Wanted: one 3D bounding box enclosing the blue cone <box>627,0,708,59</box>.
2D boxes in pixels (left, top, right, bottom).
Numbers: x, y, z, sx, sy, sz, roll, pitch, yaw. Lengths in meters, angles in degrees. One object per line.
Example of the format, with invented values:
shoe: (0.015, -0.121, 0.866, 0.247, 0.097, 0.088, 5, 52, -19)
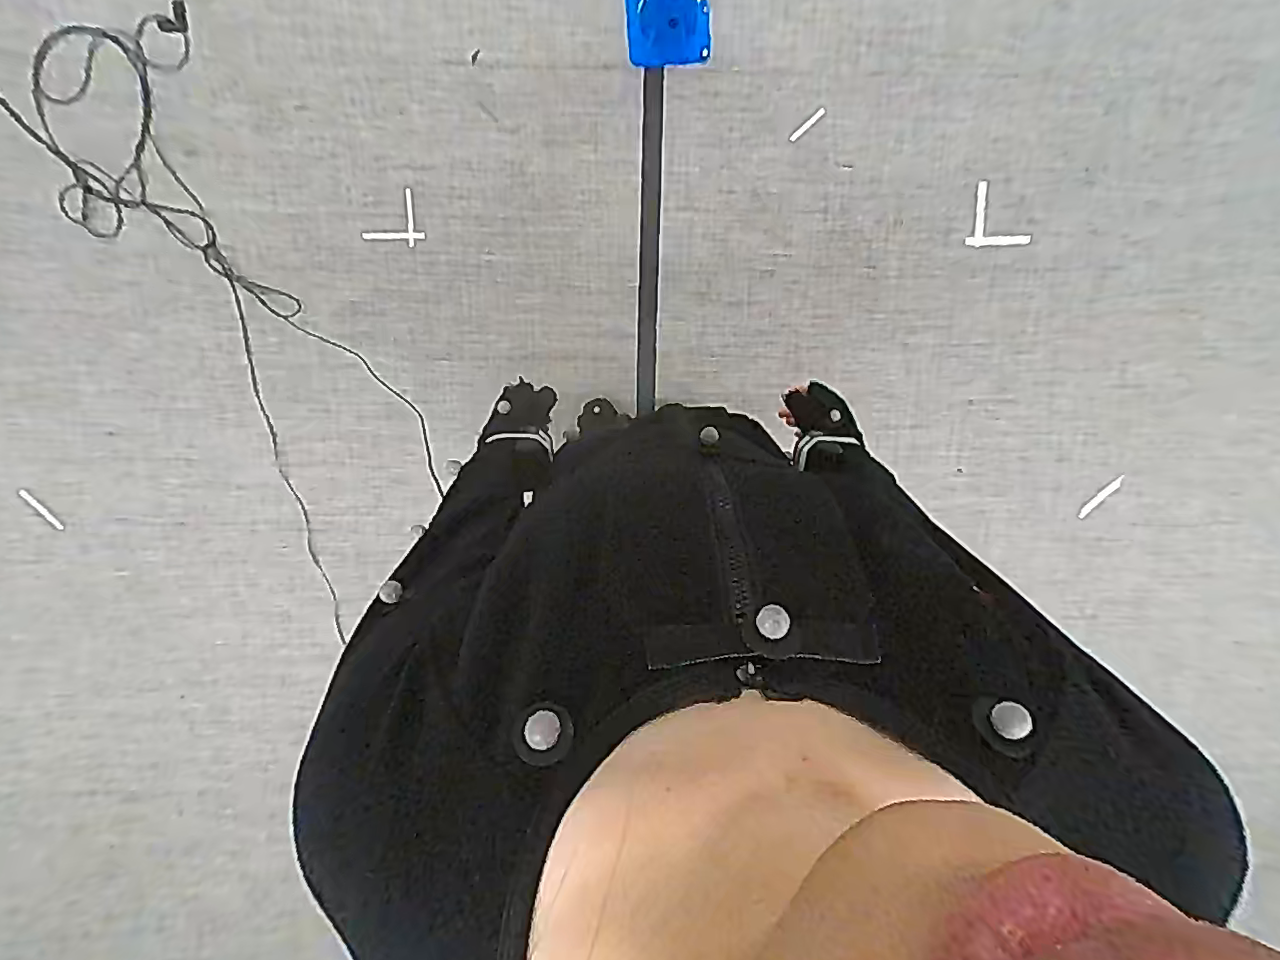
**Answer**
blue cone: (0.076, -1.085, 1.131, 0.192, 0.380, 0.193, -3, 100, -3)
